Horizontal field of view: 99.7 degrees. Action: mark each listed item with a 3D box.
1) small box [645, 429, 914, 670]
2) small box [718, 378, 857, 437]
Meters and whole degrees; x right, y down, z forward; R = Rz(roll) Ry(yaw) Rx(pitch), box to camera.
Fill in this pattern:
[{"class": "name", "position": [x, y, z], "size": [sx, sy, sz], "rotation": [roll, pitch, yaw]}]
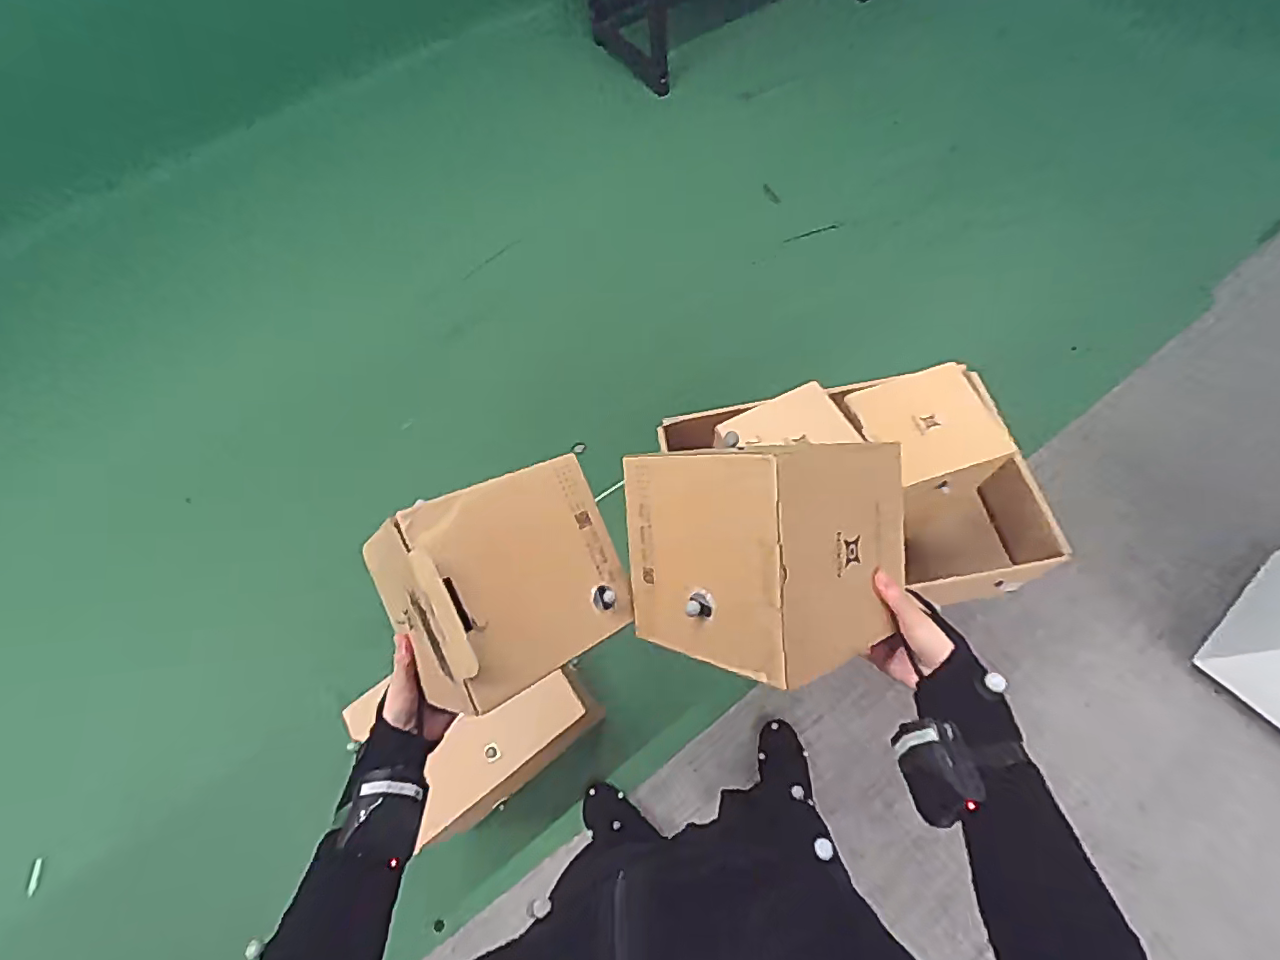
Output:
[{"class": "small box", "position": [0.116, 0.043, 0.477], "size": [0.179, 0.176, 0.168], "rotation": [-6, 95, -38]}, {"class": "small box", "position": [0.228, -0.022, 0.845], "size": [0.179, 0.176, 0.168], "rotation": [-25, 65, -7]}]
